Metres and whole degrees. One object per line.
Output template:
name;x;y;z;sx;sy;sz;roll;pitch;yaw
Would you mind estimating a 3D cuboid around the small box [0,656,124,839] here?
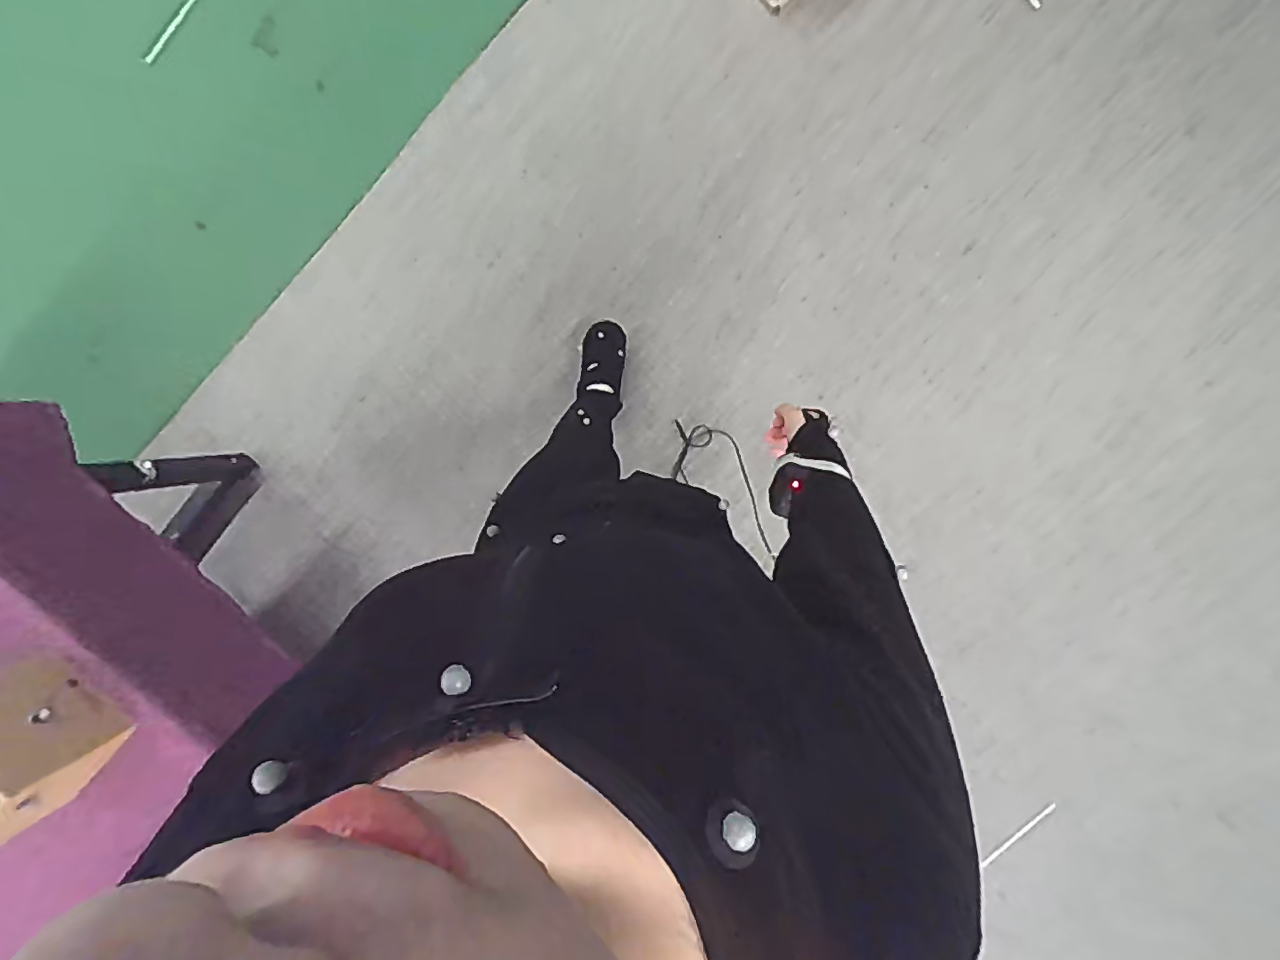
small box;-0.873;0.375;0.733;0.168;0.176;0.179;45;96;-2
